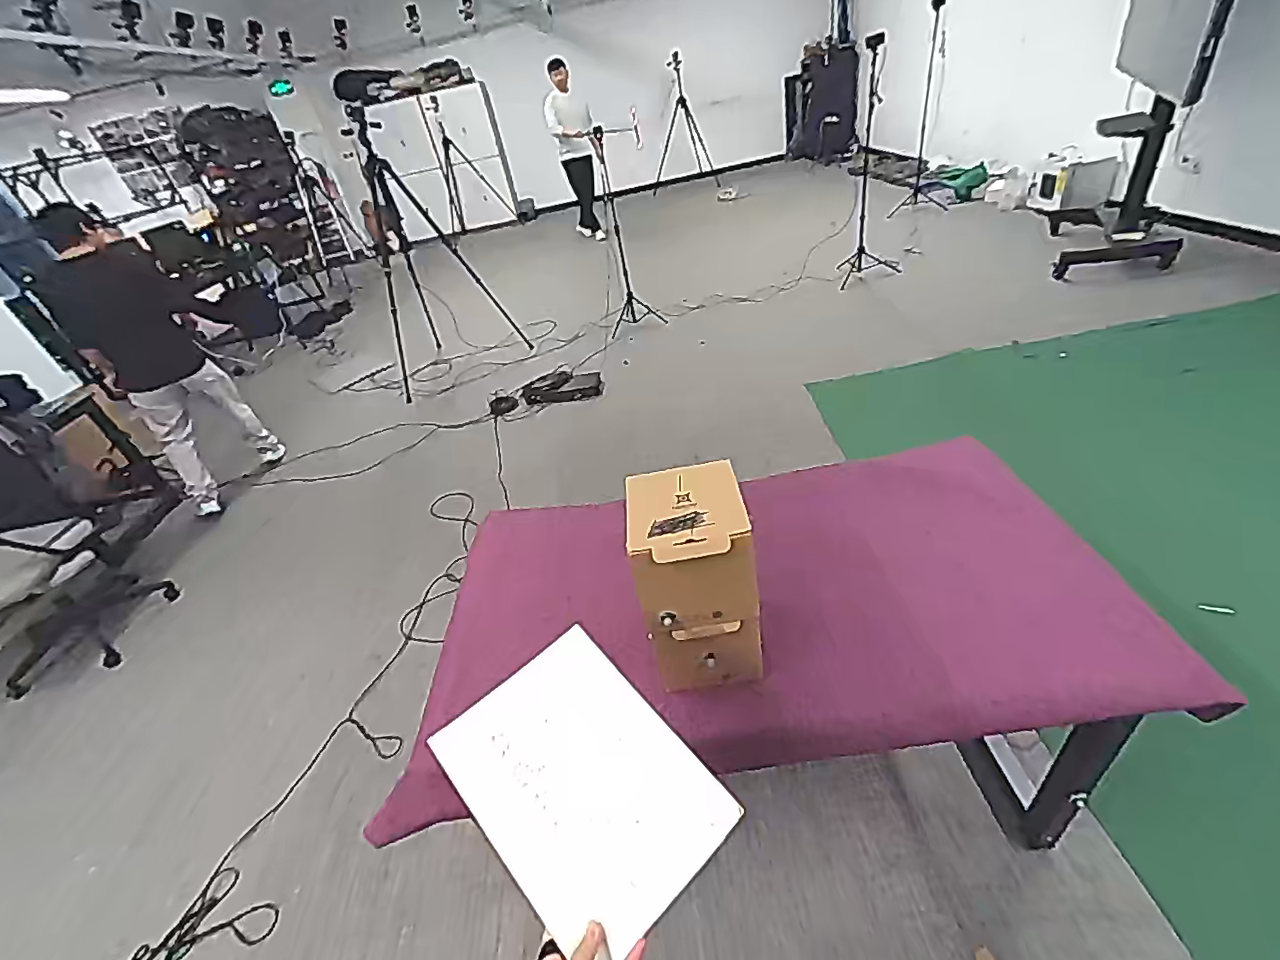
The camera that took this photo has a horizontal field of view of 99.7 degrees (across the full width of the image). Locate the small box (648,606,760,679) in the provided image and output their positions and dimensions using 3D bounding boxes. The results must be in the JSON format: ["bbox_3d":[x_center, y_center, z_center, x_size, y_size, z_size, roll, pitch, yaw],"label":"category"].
[{"bbox_3d":[0.105,0.221,0.922,0.168,0.176,0.179,-9,37,4],"label":"small box"}]

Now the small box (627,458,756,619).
[{"bbox_3d":[0.076,0.094,0.819,0.168,0.176,0.179,-9,35,5],"label":"small box"}]
